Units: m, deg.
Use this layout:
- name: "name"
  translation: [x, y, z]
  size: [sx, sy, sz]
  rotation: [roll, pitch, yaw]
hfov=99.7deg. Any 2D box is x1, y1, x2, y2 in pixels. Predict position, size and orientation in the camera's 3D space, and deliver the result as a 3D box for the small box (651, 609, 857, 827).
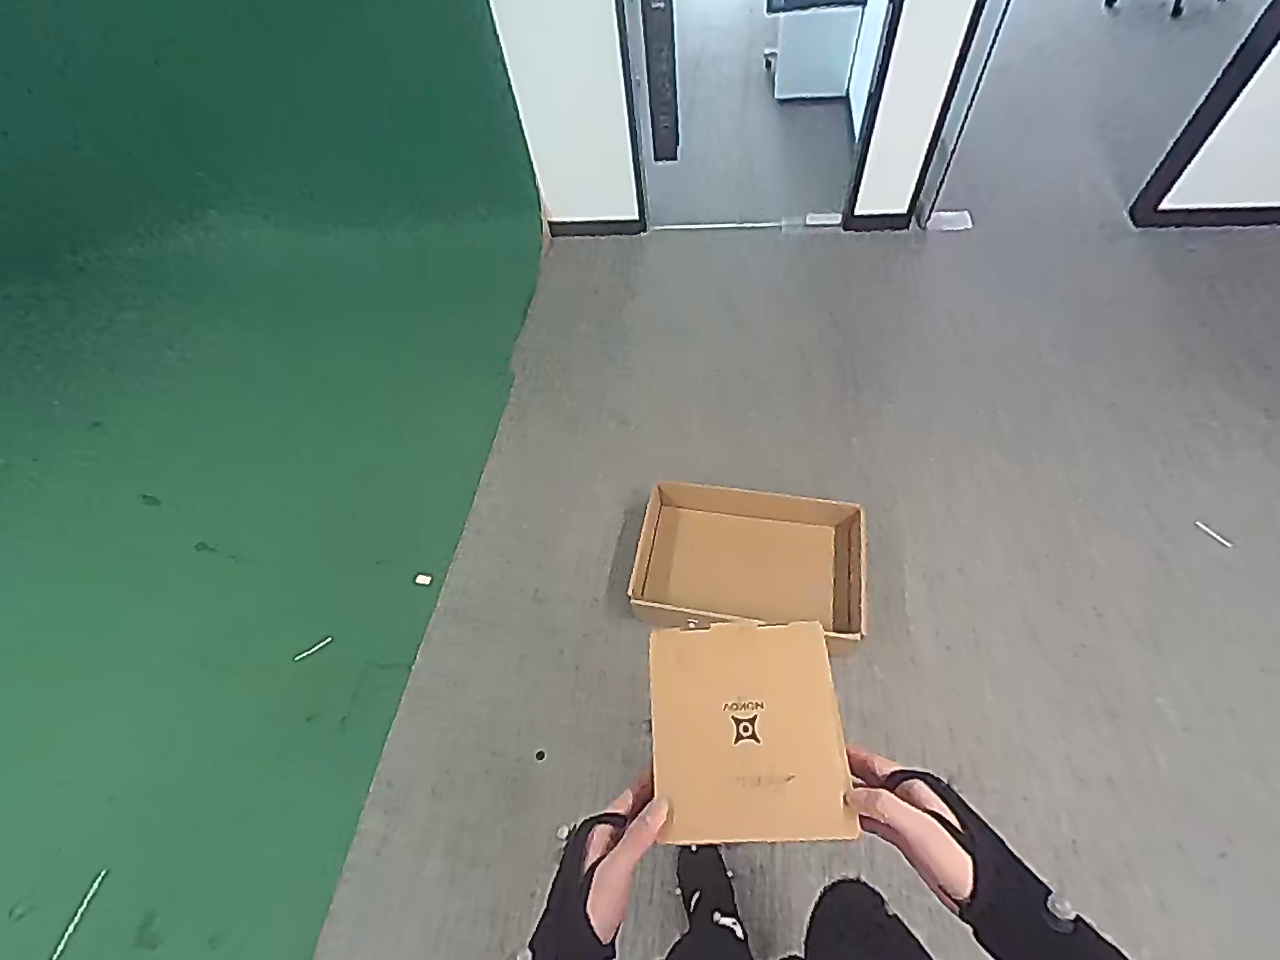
- name: "small box"
  translation: [0.098, 0.240, 0.543]
  size: [0.168, 0.176, 0.179]
  rotation: [-4, 61, 5]
